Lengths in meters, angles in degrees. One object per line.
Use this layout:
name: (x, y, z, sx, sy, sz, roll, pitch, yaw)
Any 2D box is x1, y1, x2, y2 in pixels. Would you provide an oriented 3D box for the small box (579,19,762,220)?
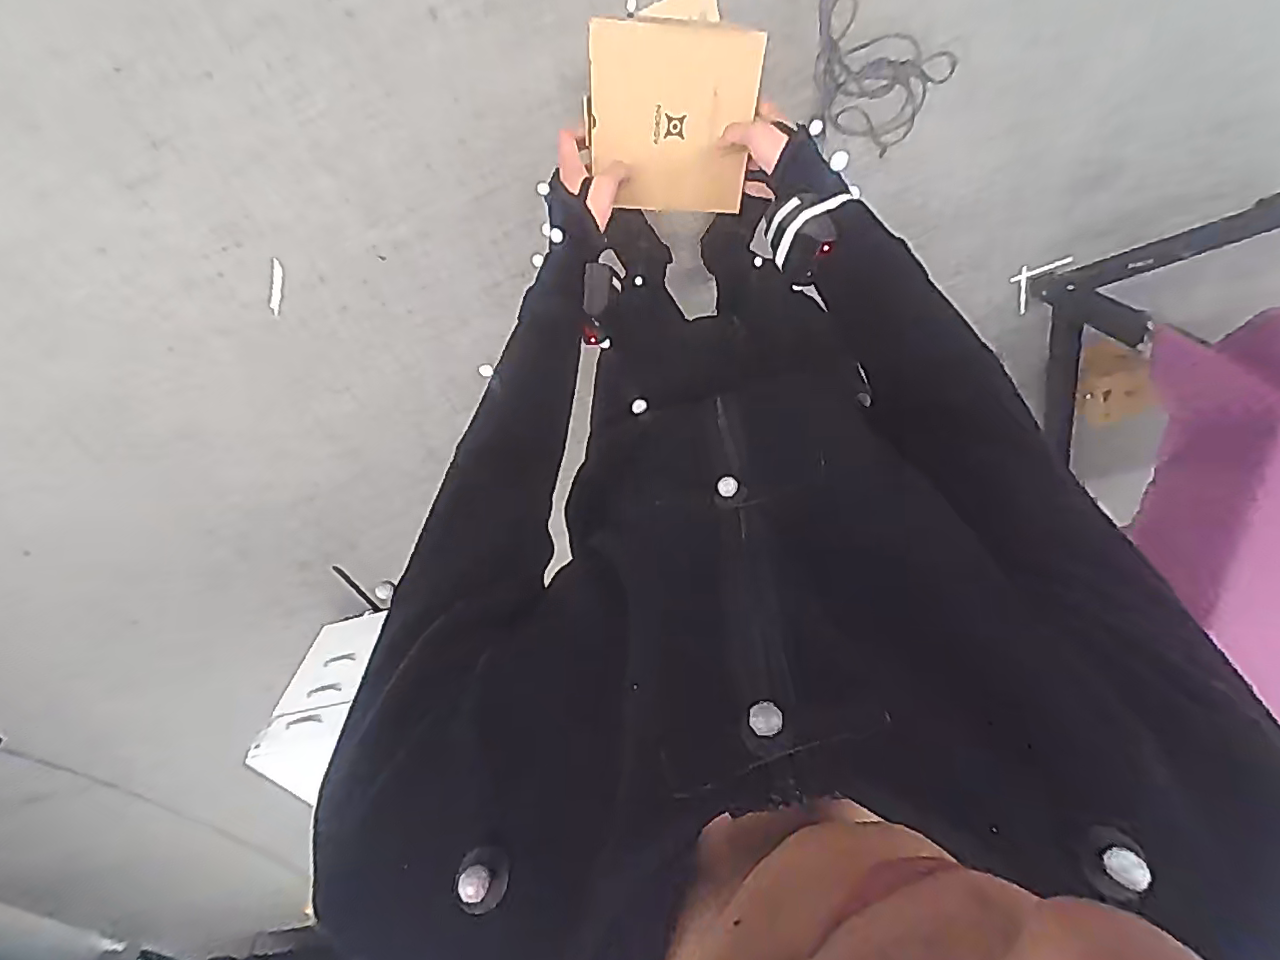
small box: (0.023, -0.416, 0.621, 0.179, 0.176, 0.168, 0, 133, -4)
